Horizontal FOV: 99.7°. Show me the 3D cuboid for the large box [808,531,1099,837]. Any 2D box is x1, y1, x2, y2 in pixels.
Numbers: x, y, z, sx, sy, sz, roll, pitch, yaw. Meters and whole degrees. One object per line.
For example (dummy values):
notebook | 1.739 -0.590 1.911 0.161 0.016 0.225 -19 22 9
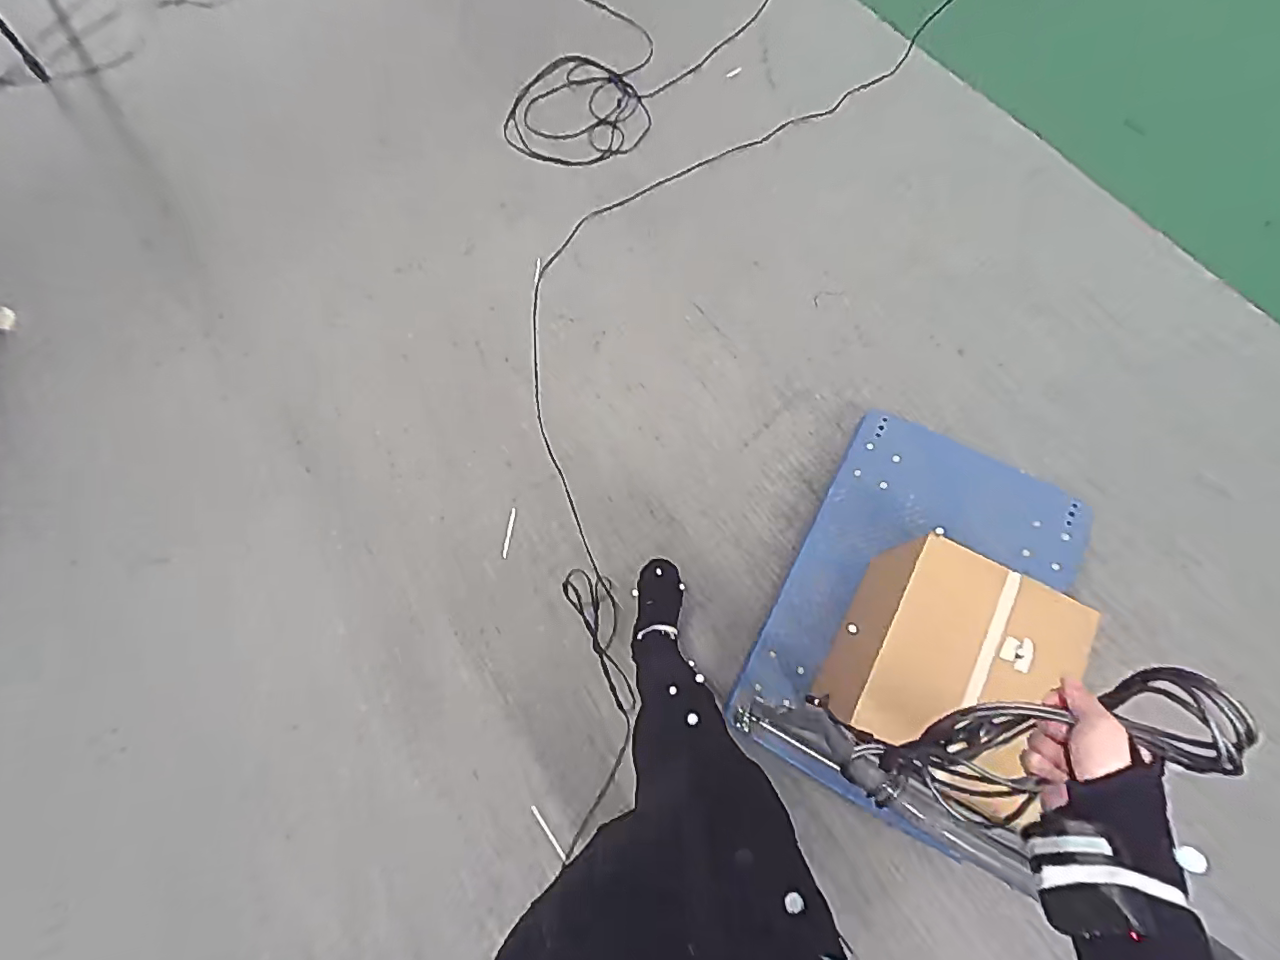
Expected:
large box | 0.579 0.374 1.060 0.320 0.320 0.408 29 75 10
